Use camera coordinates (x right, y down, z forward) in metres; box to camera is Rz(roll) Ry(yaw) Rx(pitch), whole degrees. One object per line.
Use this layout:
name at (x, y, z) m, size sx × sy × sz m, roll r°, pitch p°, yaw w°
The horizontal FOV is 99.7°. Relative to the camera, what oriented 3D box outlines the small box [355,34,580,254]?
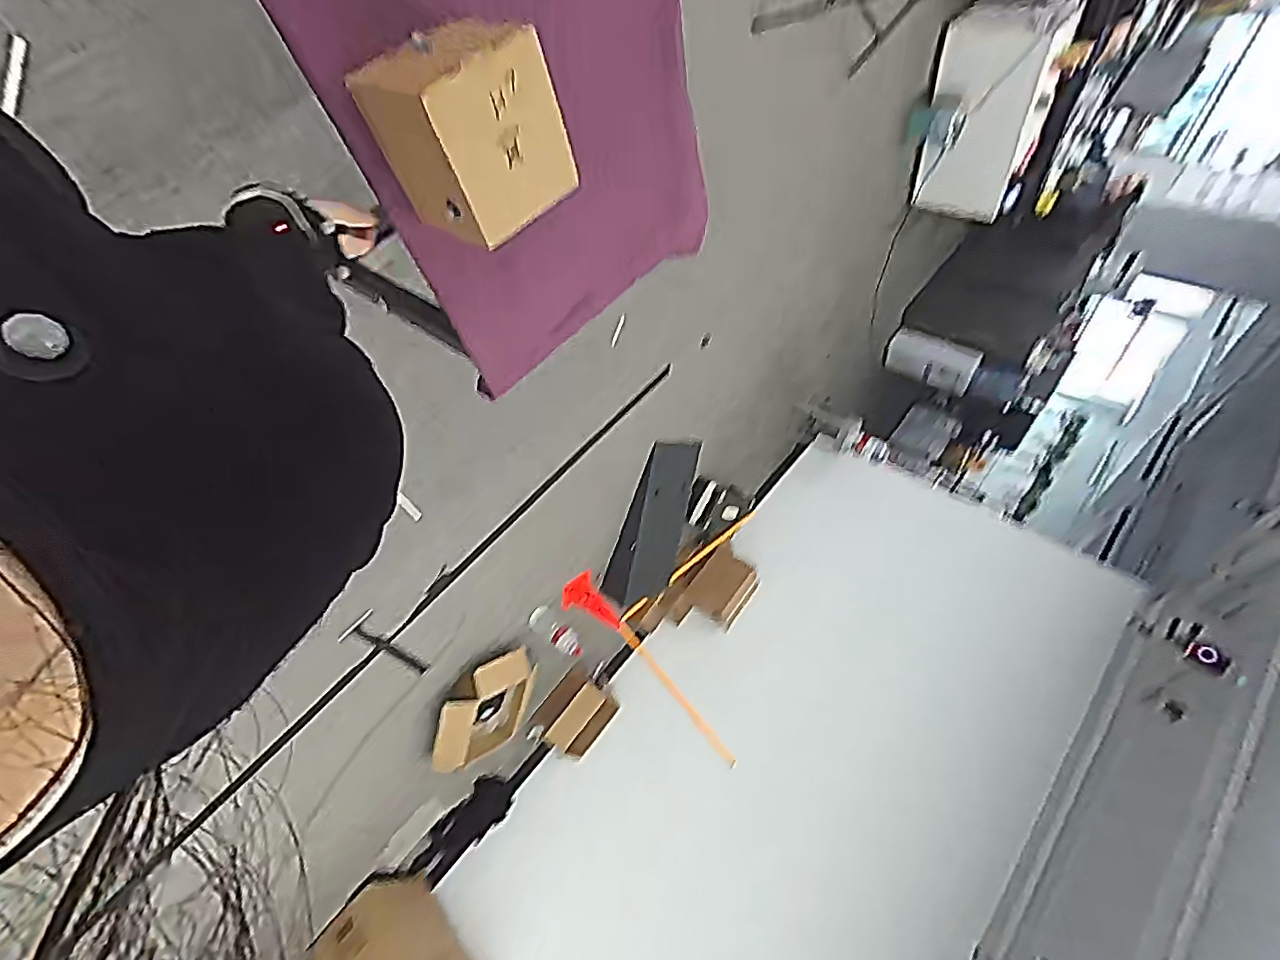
small box at (-0.209, -0.423, 0.678) m, size 0.168 × 0.176 × 0.179 m, roll -47°, pitch 147°, yaw -19°
